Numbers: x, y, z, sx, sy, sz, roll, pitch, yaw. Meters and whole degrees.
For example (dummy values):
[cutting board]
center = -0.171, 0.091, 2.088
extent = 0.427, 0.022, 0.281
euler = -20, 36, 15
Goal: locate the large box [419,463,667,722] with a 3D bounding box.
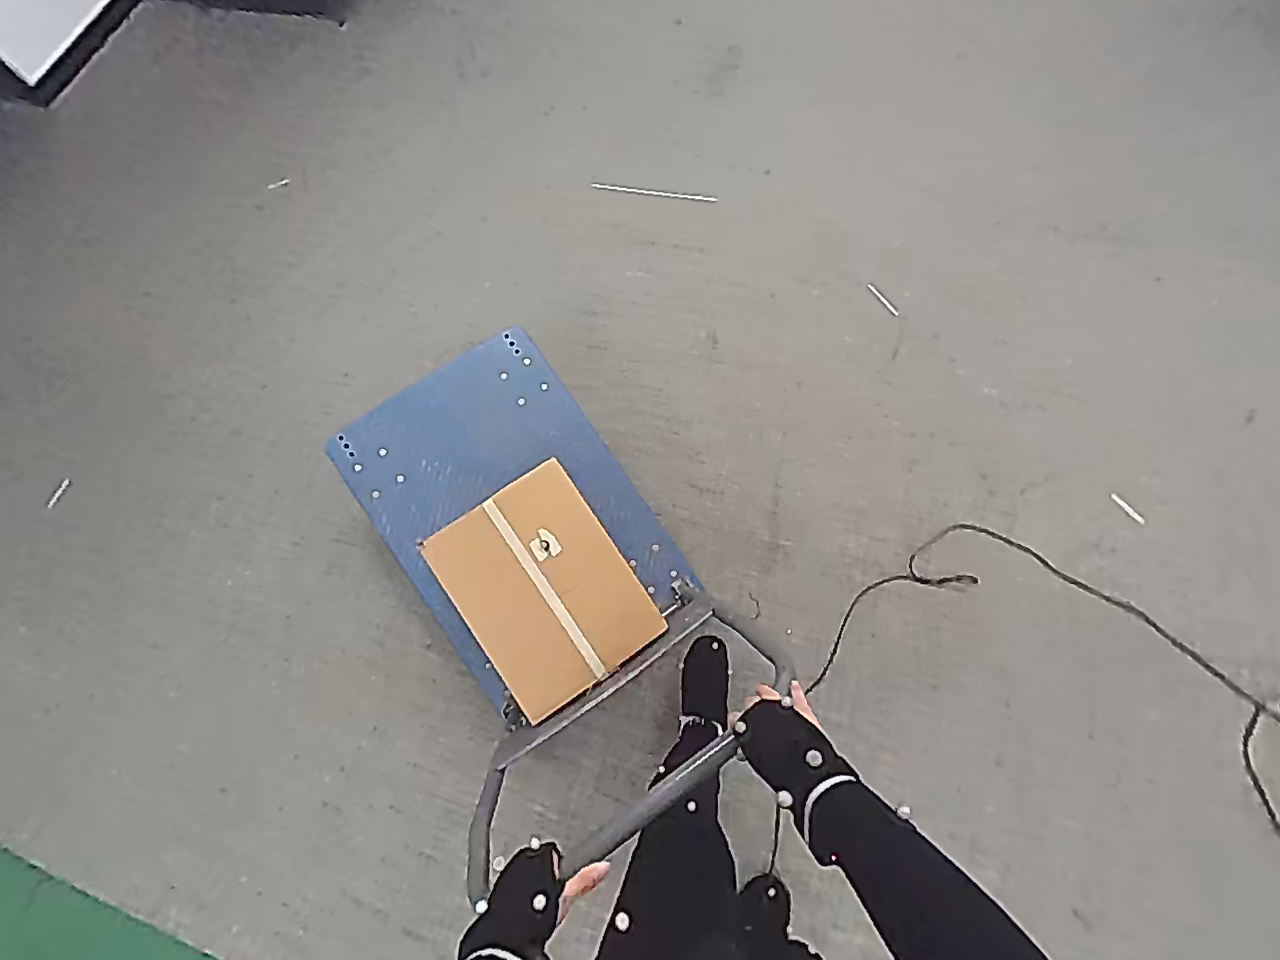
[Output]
[large box]
center = -0.191, 0.229, 1.181
extent = 0.320, 0.320, 0.408
euler = -35, 86, -8
